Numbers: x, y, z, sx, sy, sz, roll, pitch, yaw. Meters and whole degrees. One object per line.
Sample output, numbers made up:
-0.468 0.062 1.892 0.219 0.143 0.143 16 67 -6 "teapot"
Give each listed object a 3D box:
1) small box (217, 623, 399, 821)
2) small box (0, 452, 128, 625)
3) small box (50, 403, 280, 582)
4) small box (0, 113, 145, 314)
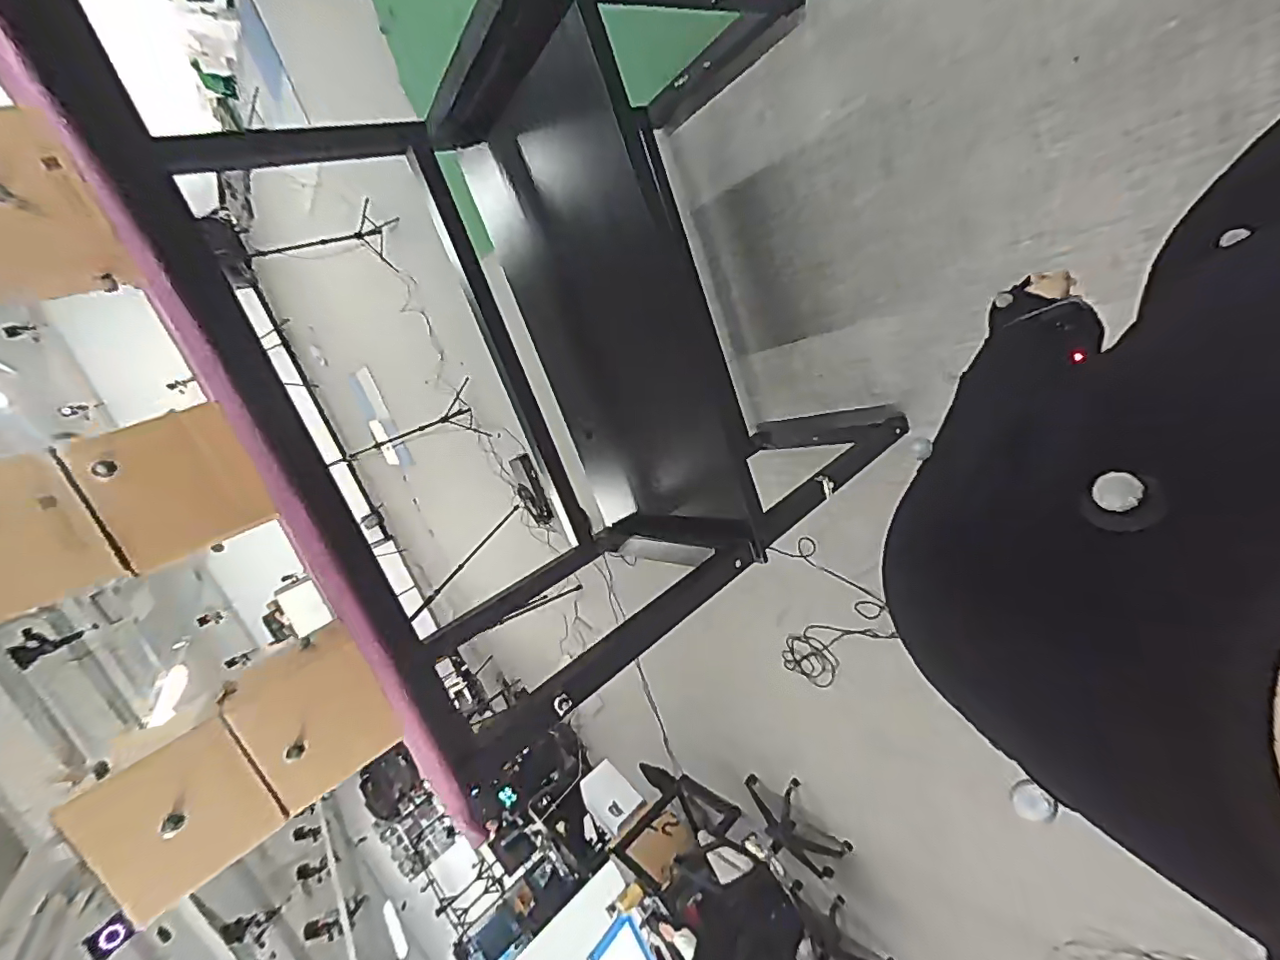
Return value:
-0.486 0.343 0.803 0.168 0.176 0.179 -3 112 53 "small box"
-0.743 0.073 0.650 0.179 0.176 0.168 -4 109 57 "small box"
-0.620 0.012 0.737 0.168 0.176 0.179 -1 114 55 "small box"
-0.751 -0.315 0.653 0.179 0.176 0.168 10 124 52 "small box"
